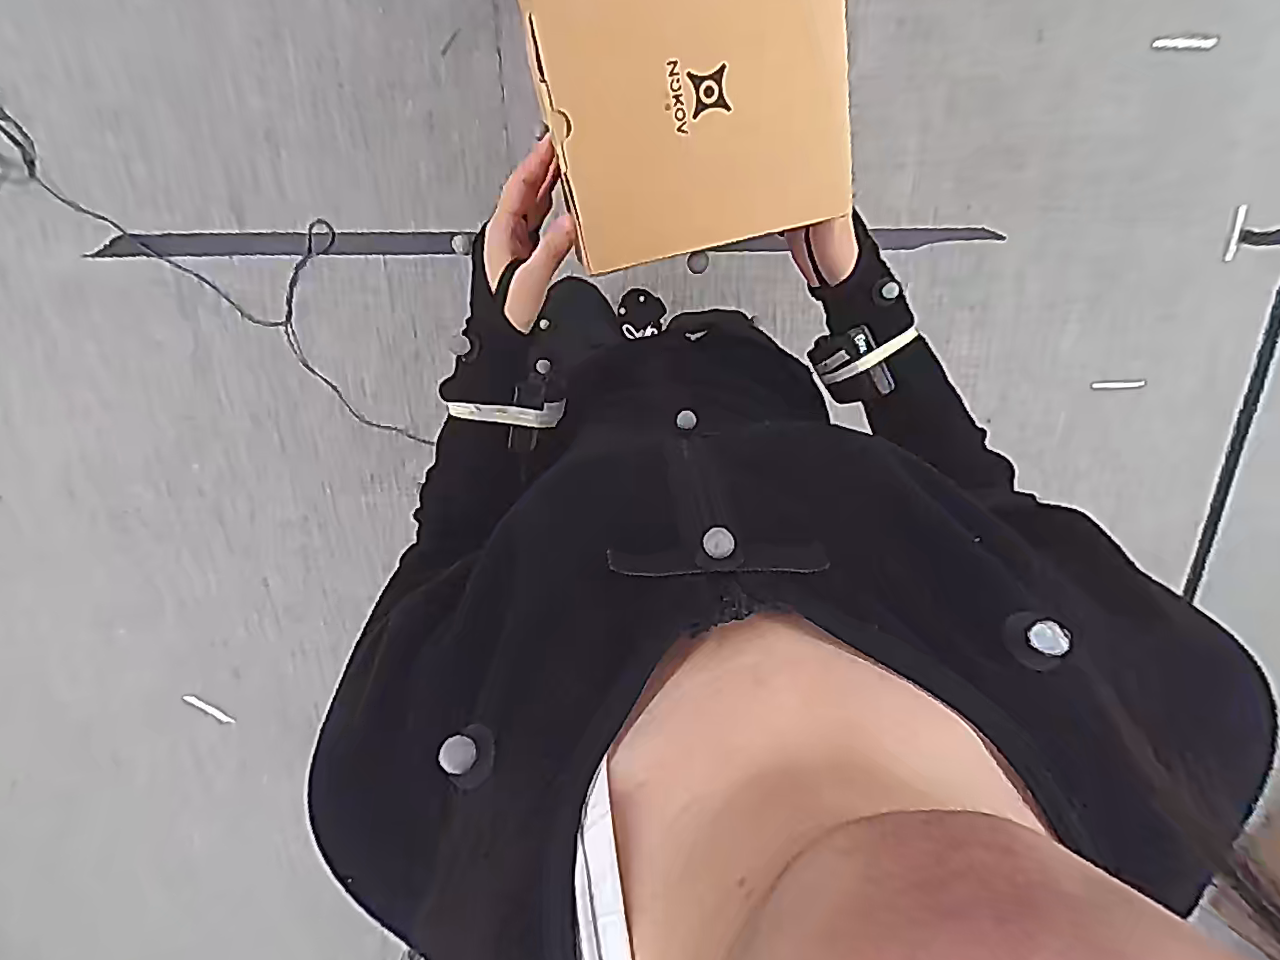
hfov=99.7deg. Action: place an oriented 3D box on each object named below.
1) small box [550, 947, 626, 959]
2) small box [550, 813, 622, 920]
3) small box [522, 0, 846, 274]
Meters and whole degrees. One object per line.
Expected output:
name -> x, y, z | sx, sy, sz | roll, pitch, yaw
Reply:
small box -> -0.117, 1.125, 1.131 | 0.179, 0.176, 0.168 | 0, 108, -4
small box -> -0.141, 1.023, 1.443 | 0.179, 0.176, 0.168 | -3, 107, -2
small box -> 0.024, -0.257, 0.384 | 0.179, 0.176, 0.168 | -14, 116, 0
